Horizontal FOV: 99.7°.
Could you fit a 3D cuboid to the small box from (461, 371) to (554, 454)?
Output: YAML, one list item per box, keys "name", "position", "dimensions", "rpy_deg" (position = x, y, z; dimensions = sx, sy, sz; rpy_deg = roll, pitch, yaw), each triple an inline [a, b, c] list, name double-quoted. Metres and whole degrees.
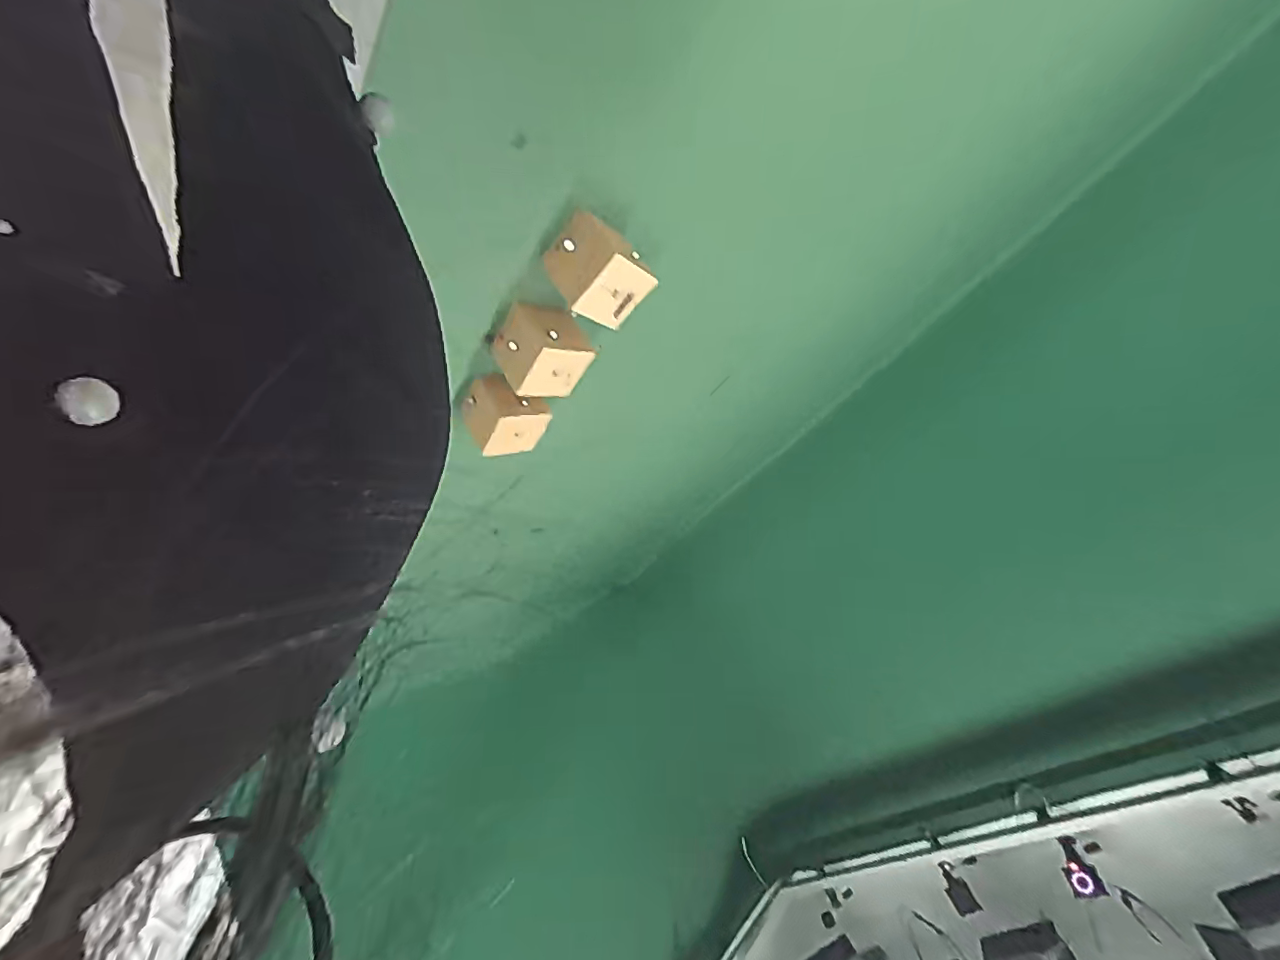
- name: "small box"
  position: [-0.386, -0.200, 1.564]
  dimensions: [0.179, 0.176, 0.168]
  rpy_deg: [-13, 152, -45]

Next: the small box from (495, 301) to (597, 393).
- name: "small box"
  position: [-0.252, -0.345, 1.415]
  dimensions: [0.179, 0.176, 0.168]
  rpy_deg: [-11, 152, -48]

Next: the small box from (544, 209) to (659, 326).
- name: "small box"
  position: [-0.093, -0.503, 1.285]
  dimensions: [0.168, 0.176, 0.179]
  rpy_deg: [-42, 158, 24]
